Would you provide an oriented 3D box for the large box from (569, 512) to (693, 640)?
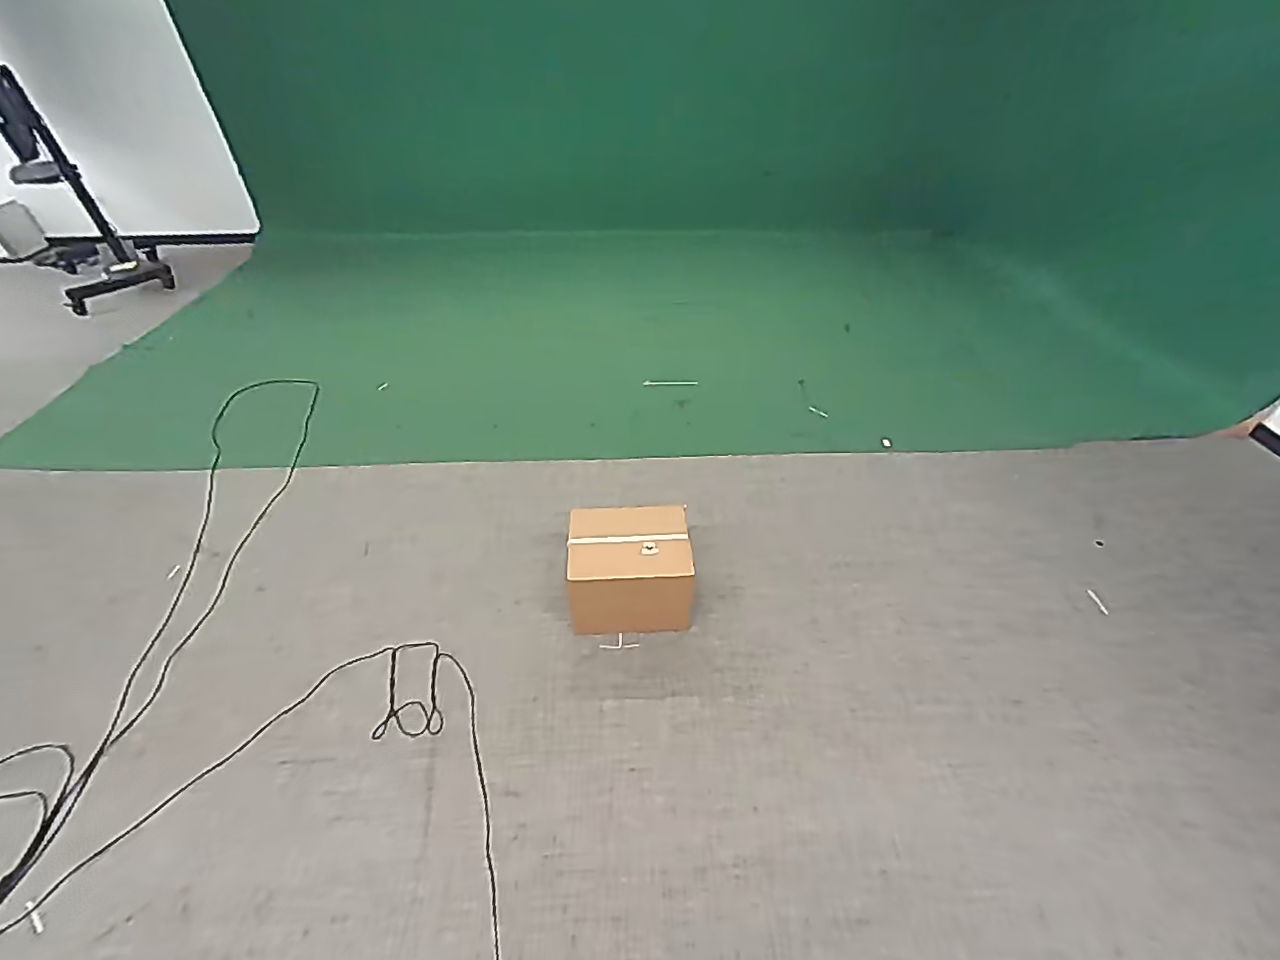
[{"bbox_3d":[-0.040,0.339,1.912,0.408,0.320,0.320,-2,41,-3],"label":"large box"}]
